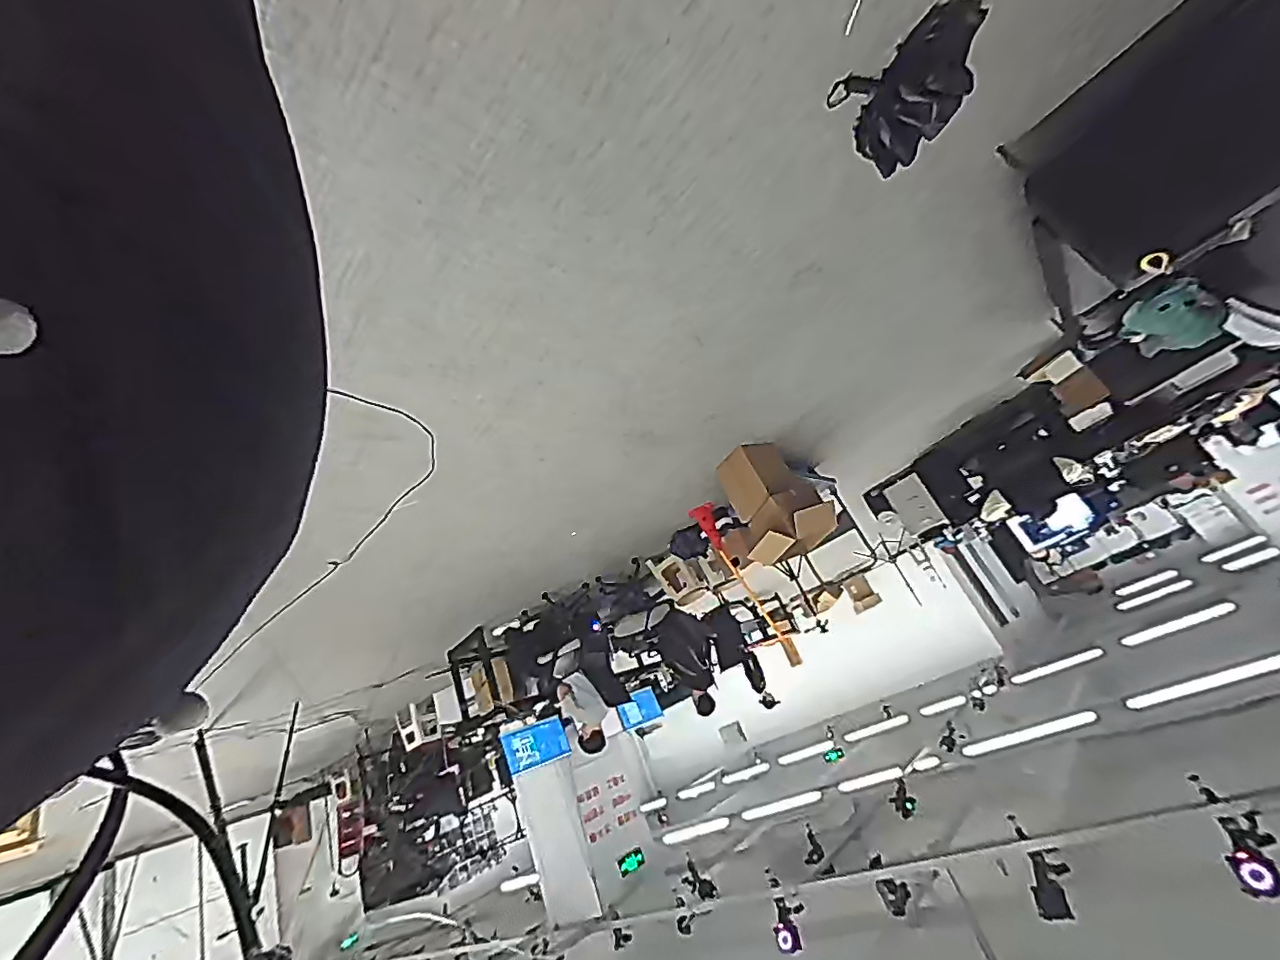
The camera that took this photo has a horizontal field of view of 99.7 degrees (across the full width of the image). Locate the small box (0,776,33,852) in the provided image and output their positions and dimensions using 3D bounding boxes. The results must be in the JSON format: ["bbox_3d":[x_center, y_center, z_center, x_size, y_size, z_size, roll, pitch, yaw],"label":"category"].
[{"bbox_3d":[-1.857,0.961,1.523,0.179,0.176,0.168,-1,146,-39],"label":"small box"}]

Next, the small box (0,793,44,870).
[{"bbox_3d":[-2.011,1.116,1.693,0.179,0.176,0.168,6,142,-47],"label":"small box"}]
